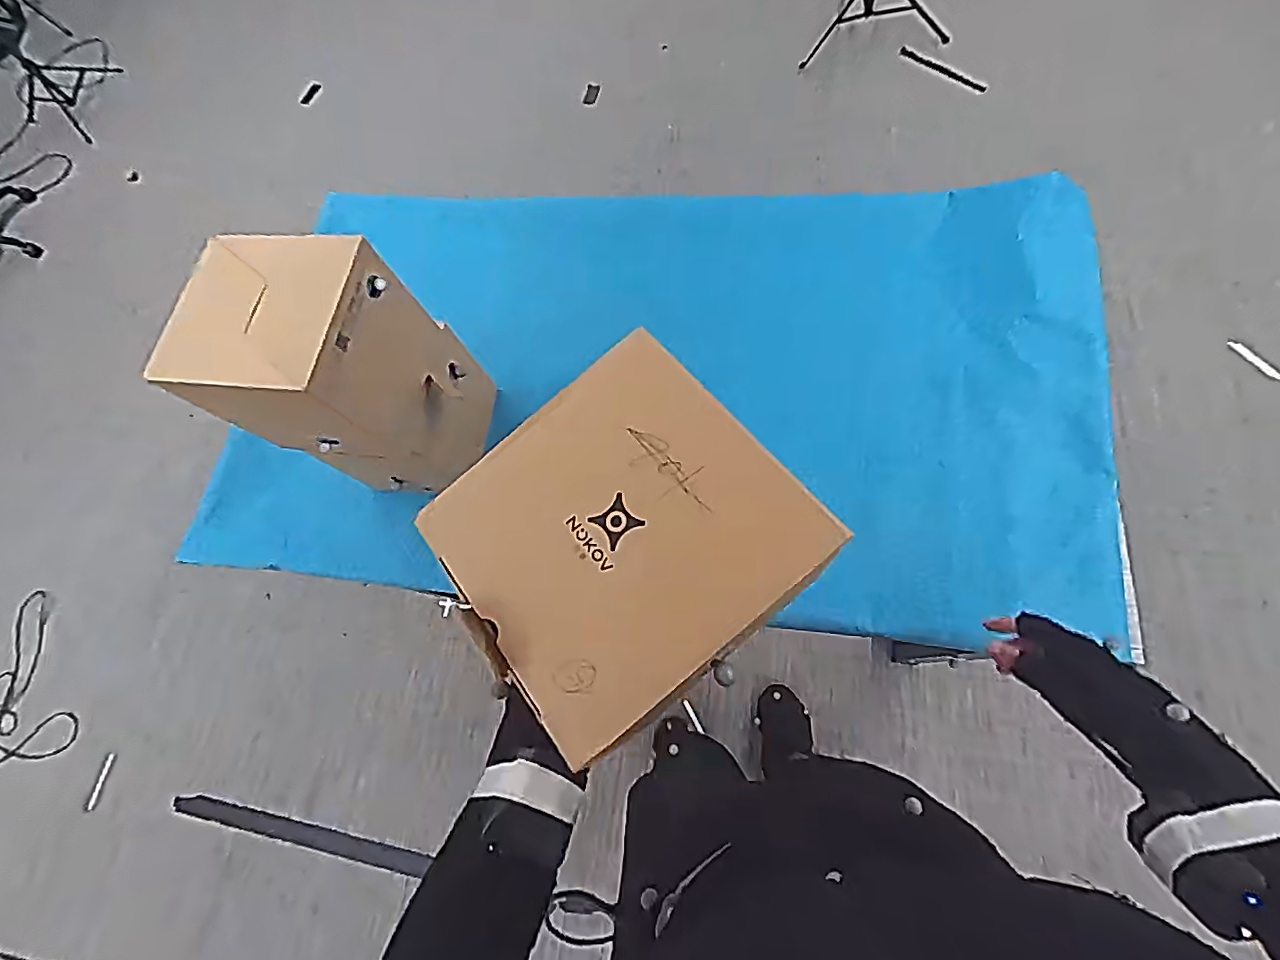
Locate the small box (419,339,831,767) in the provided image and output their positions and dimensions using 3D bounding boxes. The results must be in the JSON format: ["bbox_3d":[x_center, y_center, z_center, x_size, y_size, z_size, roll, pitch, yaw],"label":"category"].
[{"bbox_3d":[0.000,0.051,0.361,0.179,0.176,0.168,-40,69,0],"label":"small box"}]

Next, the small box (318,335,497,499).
[{"bbox_3d":[-0.315,-0.082,0.736,0.168,0.176,0.179,6,74,13],"label":"small box"}]

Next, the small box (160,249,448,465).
[{"bbox_3d":[-0.340,-0.125,0.577,0.179,0.176,0.168,5,72,11],"label":"small box"}]
